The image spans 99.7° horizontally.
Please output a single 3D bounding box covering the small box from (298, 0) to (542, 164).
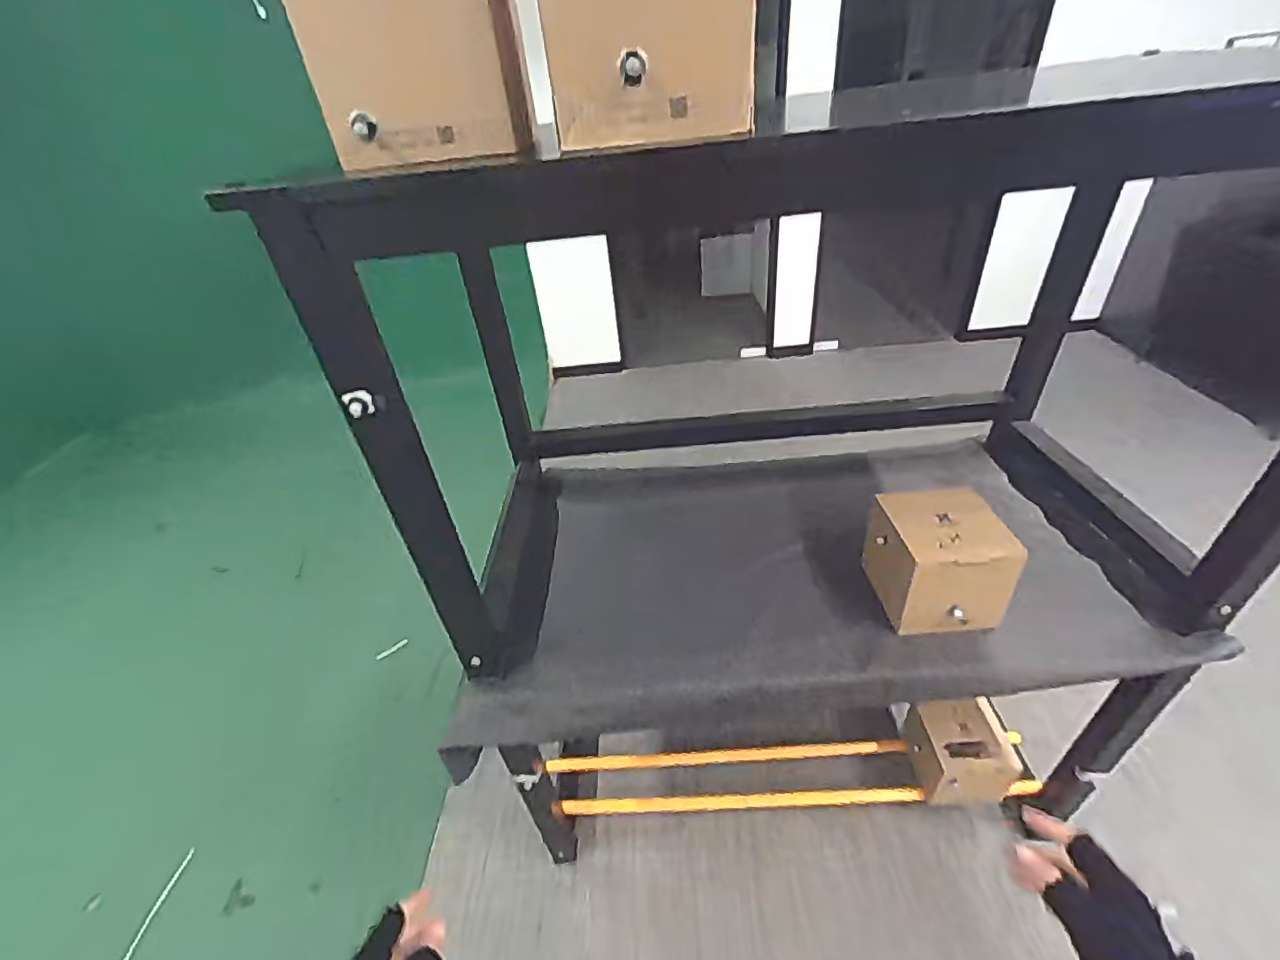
[{"bbox_3d":[-0.198,-0.416,0.530,0.168,0.176,0.179,-5,35,2],"label":"small box"}]

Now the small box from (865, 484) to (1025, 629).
[{"bbox_3d":[0.499,0.128,0.919,0.168,0.176,0.179,-5,35,3],"label":"small box"}]

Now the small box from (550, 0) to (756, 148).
[{"bbox_3d":[0.011,-0.411,0.494,0.168,0.176,0.179,-4,36,3],"label":"small box"}]
